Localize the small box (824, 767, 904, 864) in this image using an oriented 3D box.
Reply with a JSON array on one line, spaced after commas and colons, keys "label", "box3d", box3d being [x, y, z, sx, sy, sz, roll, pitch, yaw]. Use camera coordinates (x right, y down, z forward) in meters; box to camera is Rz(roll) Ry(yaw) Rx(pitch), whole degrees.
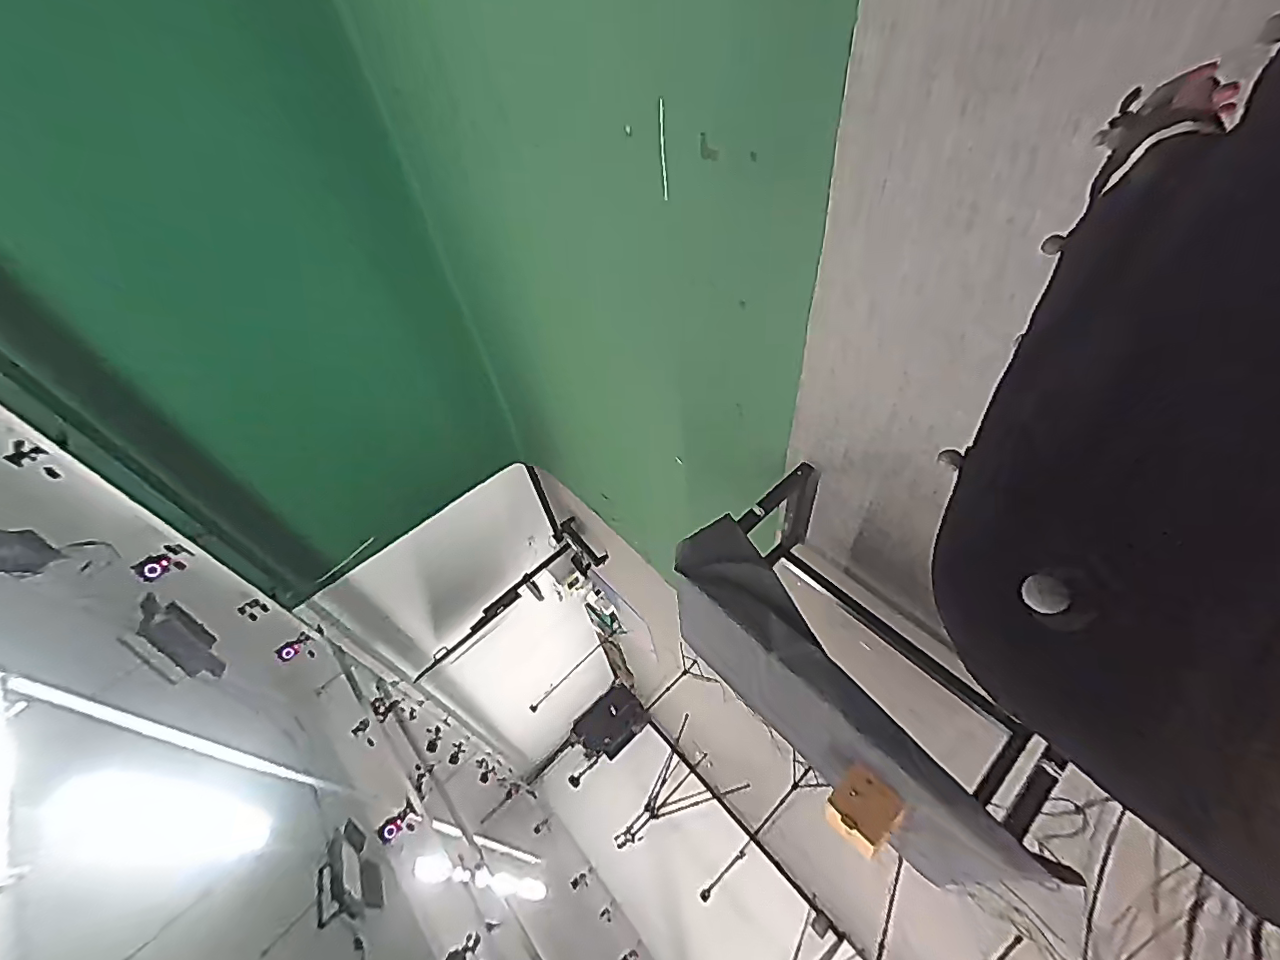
[{"label": "small box", "box3d": [0.684, 1.022, 1.656, 0.168, 0.176, 0.179, 35, 153, 43]}]
